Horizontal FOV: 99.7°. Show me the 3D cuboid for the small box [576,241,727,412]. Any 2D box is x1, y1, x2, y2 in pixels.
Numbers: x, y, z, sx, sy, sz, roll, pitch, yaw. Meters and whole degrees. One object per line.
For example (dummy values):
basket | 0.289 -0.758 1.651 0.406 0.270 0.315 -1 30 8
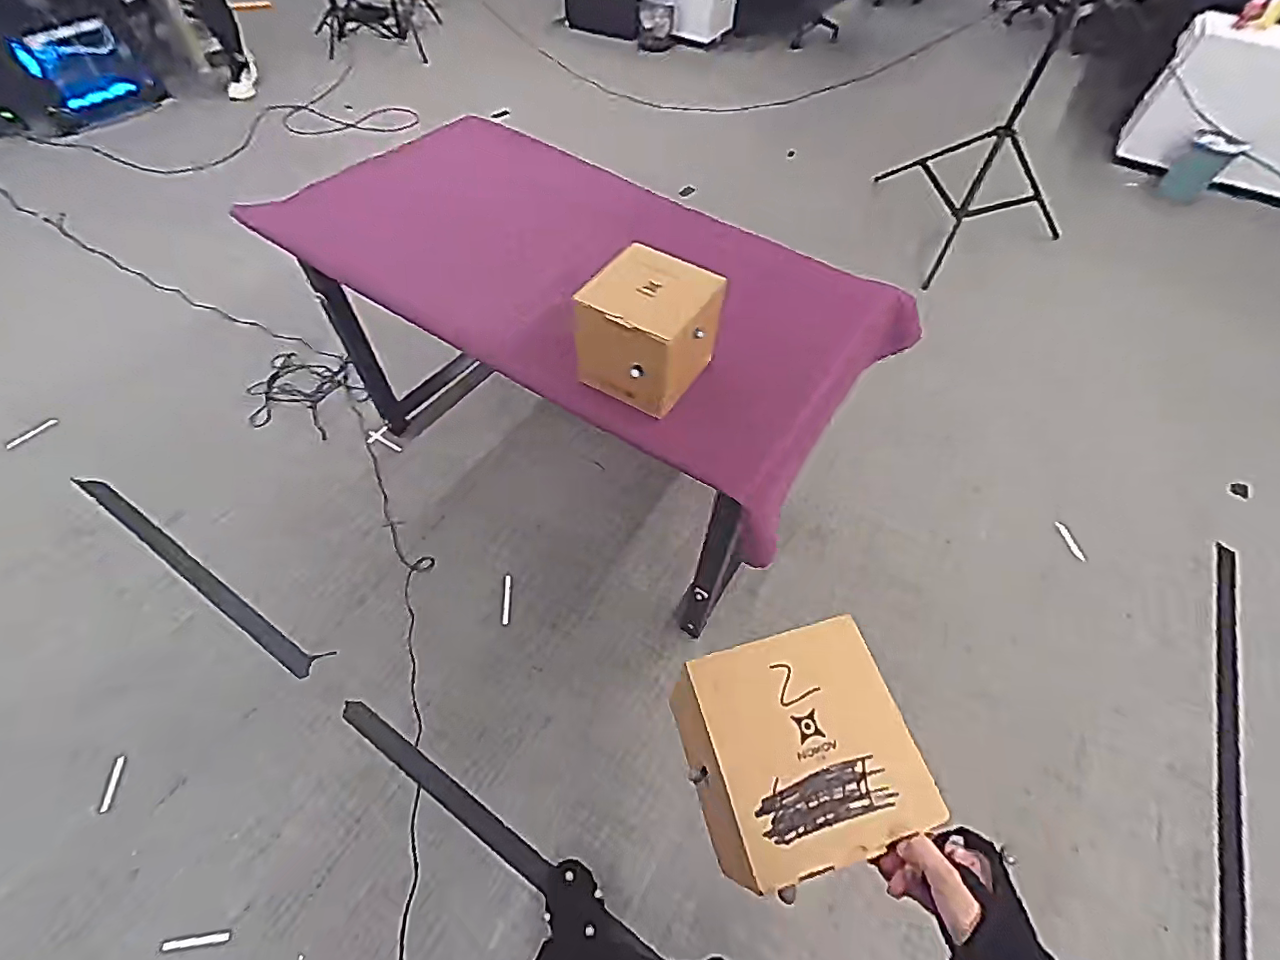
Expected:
small box | 0.018 -0.240 0.862 0.168 0.176 0.179 29 59 15
